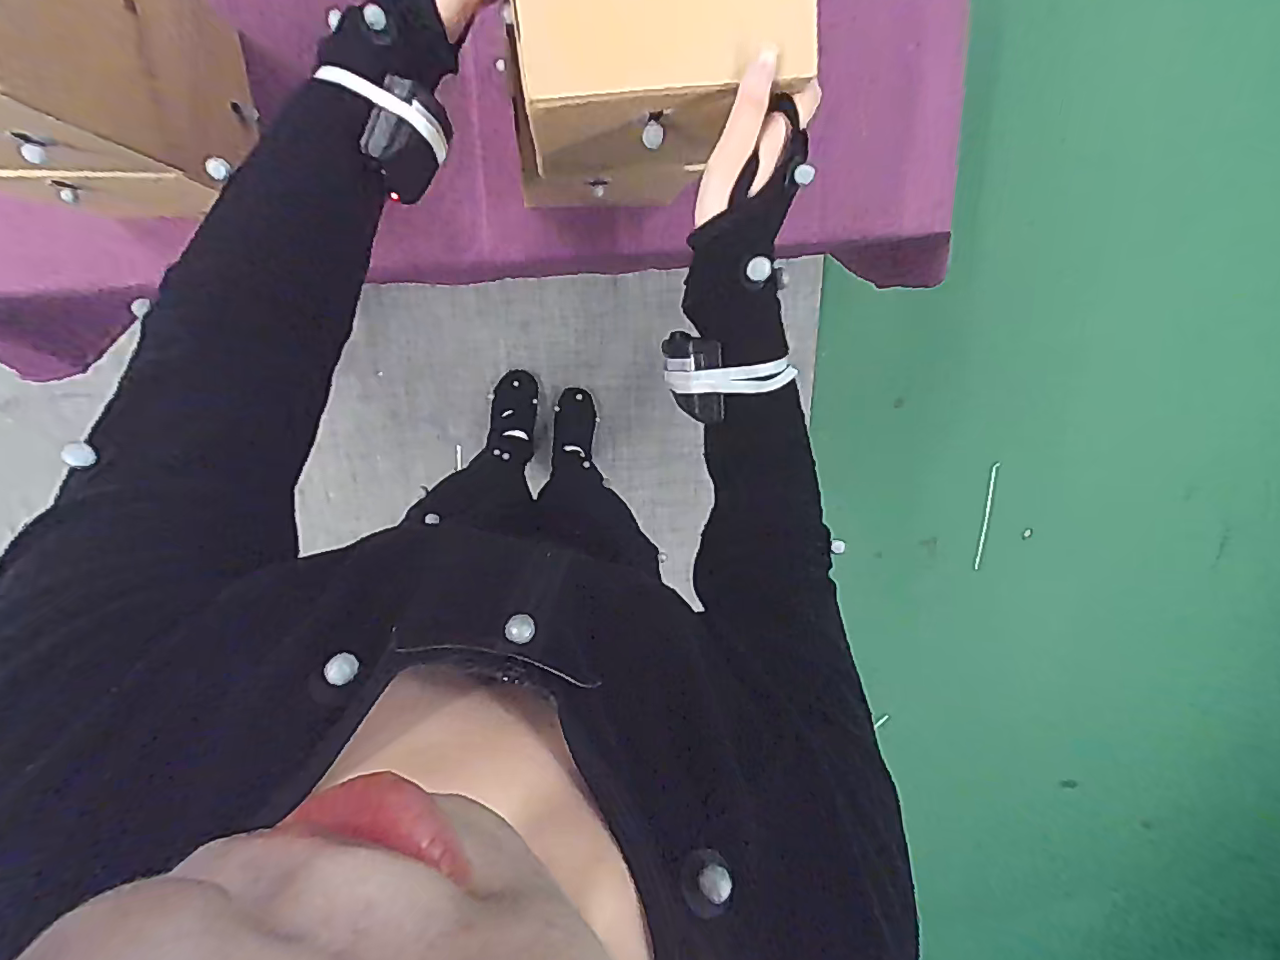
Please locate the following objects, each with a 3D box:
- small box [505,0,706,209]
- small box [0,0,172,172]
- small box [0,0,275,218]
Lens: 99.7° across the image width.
[{"bbox_3d":[-0.039,-0.384,0.556,0.179,0.176,0.168,-5,107,-9],"label":"small box"},{"bbox_3d":[-0.438,-0.302,0.332,0.179,0.176,0.168,-3,107,-9],"label":"small box"},{"bbox_3d":[-0.468,-0.349,0.486,0.168,0.176,0.179,-4,106,-9],"label":"small box"}]
